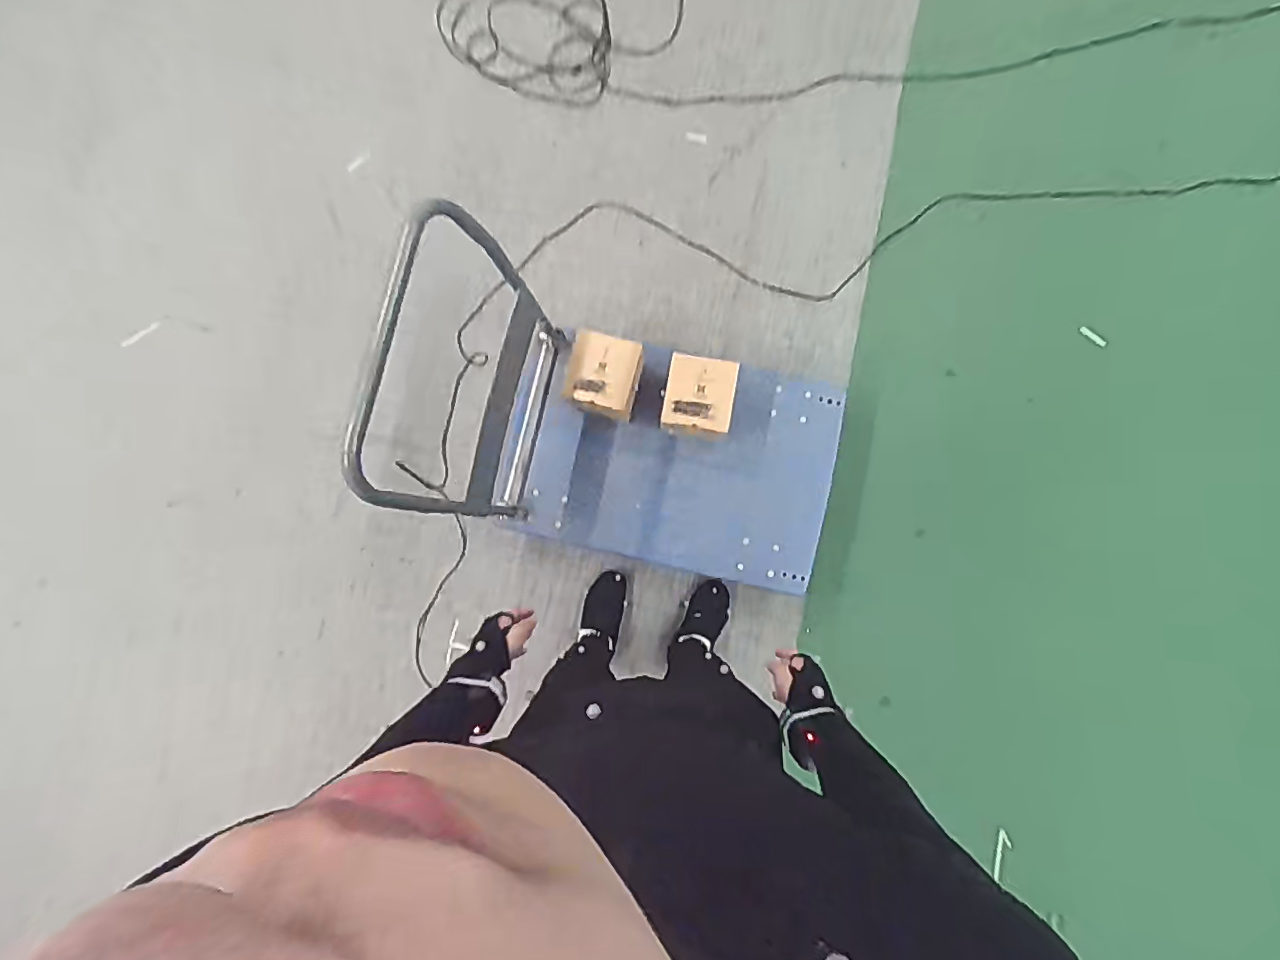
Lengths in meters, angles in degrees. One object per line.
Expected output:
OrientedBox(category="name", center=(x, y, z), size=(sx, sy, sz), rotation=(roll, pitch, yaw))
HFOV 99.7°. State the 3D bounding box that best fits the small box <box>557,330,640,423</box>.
OrientedBox(category="small box", center=(-0.098, -0.257, 1.390), size=(0.168, 0.176, 0.179), rotation=(15, 85, 3))
